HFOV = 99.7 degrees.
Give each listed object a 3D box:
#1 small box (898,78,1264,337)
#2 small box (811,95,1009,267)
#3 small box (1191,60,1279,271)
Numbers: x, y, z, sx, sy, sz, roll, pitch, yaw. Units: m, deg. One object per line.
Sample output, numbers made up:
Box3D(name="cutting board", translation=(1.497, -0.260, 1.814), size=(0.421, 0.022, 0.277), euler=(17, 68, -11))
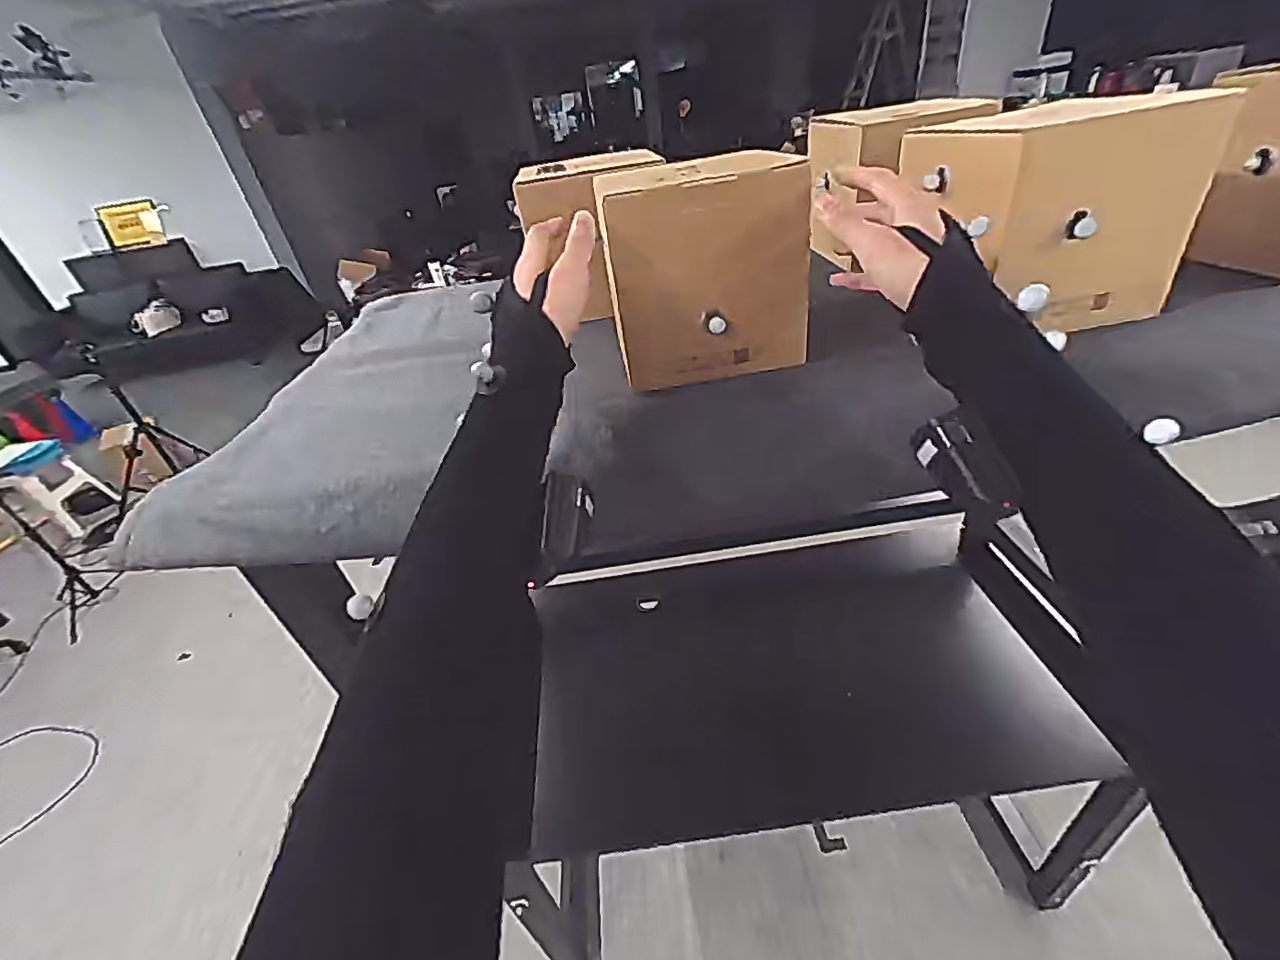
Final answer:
Box3D(name="small box", translation=(0.358, -0.238, 0.487), size=(0.168, 0.176, 0.179), euler=(-10, 32, -1))
Box3D(name="small box", translation=(0.334, -0.393, 0.716), size=(0.168, 0.176, 0.179), euler=(-10, 34, 0))
Box3D(name="small box", translation=(0.655, -0.289, 0.481), size=(0.168, 0.176, 0.179), euler=(-8, 31, 3))
